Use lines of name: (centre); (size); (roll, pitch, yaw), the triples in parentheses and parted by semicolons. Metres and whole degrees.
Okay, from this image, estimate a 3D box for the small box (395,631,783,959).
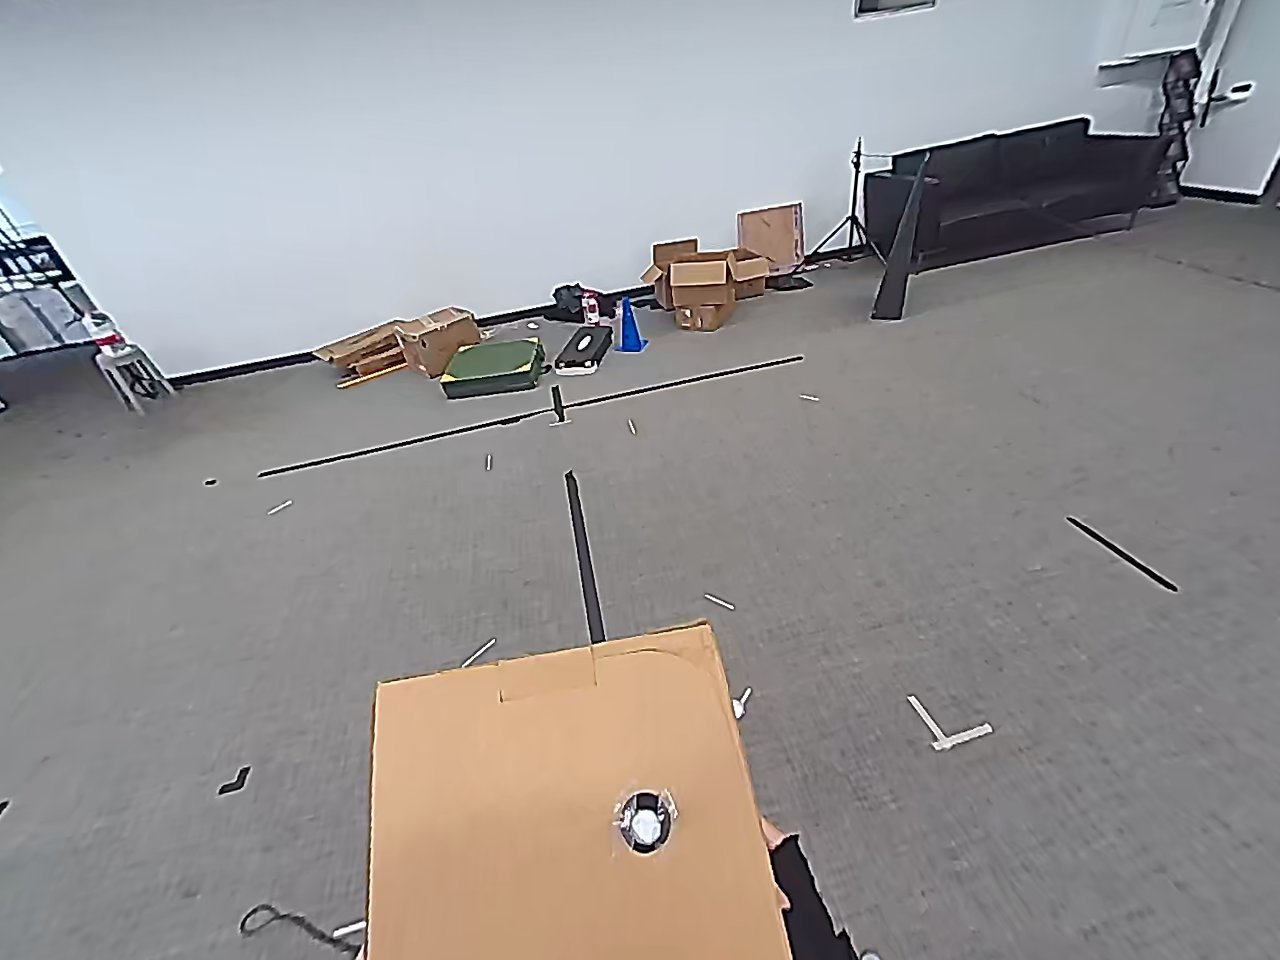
small box: (-0.023, 0.200, 0.318); (0.168, 0.179, 0.176); (-10, 66, -1)
